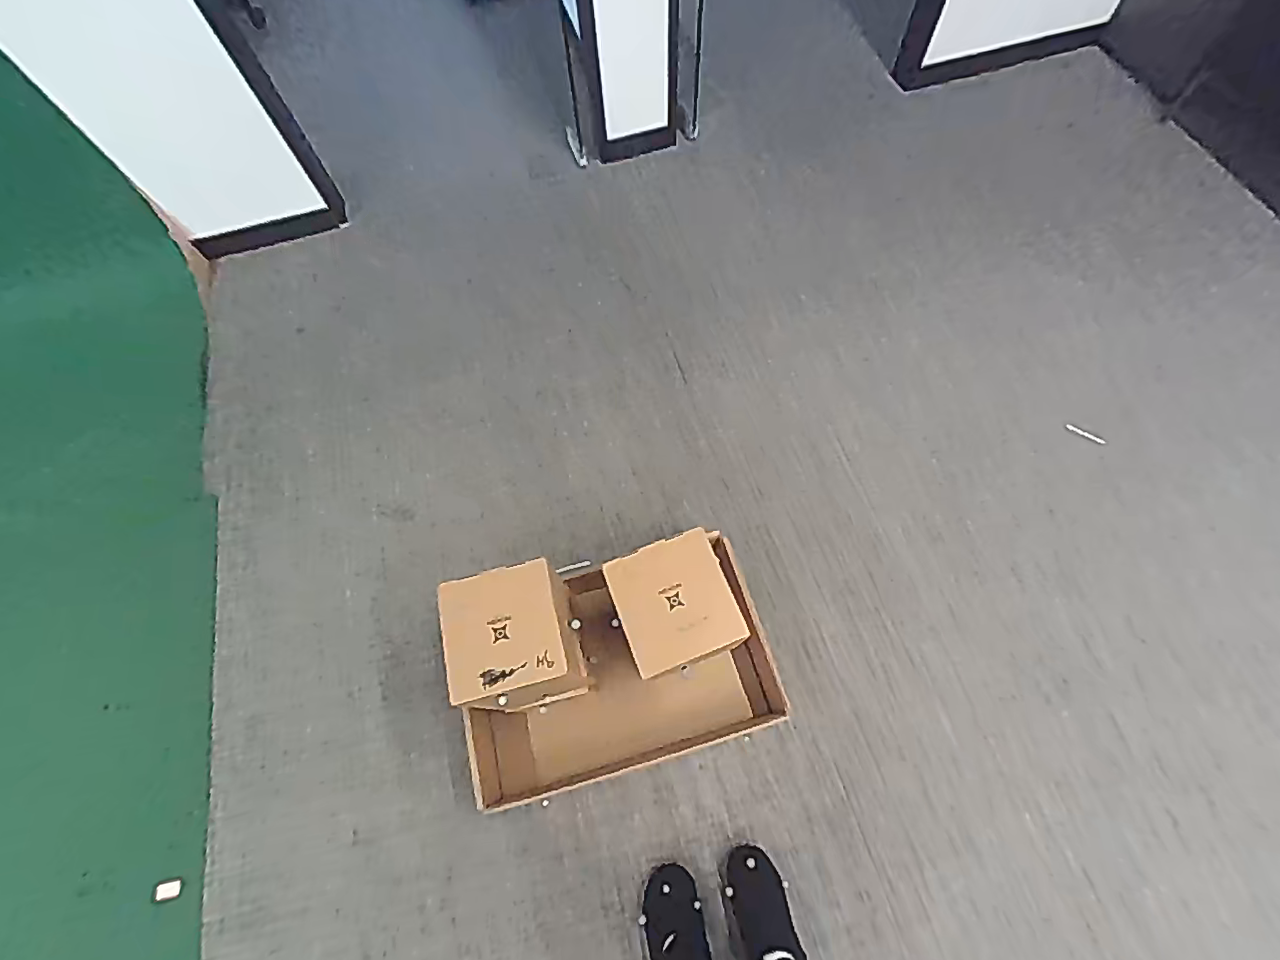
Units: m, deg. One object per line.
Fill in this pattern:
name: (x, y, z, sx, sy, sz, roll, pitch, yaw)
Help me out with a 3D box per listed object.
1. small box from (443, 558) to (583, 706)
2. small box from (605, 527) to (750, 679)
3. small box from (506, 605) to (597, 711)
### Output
small box: (-0.193, 0.243, 0.846, 0.168, 0.176, 0.179, -14, 66, -3)
small box: (0.054, 0.200, 0.854, 0.168, 0.176, 0.179, -20, 69, -5)
small box: (-0.191, 0.379, 1.146, 0.168, 0.176, 0.179, -12, 66, -4)
